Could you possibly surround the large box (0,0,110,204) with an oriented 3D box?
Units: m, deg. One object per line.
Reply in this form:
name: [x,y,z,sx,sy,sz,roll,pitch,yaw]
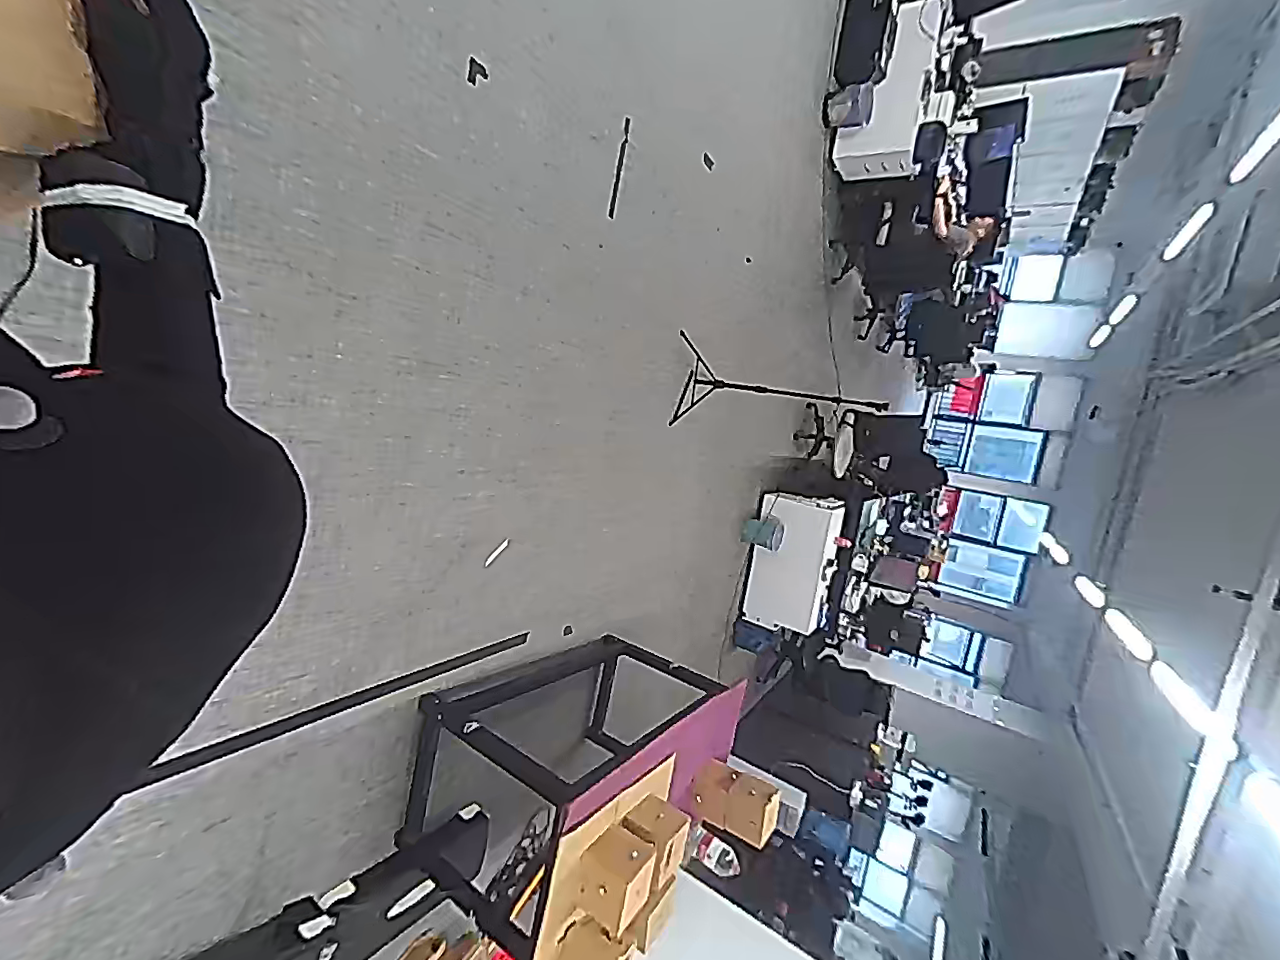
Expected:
large box: [-0.603,-0.367,0.266,0.408,0.320,0.320,-14,112,-58]
